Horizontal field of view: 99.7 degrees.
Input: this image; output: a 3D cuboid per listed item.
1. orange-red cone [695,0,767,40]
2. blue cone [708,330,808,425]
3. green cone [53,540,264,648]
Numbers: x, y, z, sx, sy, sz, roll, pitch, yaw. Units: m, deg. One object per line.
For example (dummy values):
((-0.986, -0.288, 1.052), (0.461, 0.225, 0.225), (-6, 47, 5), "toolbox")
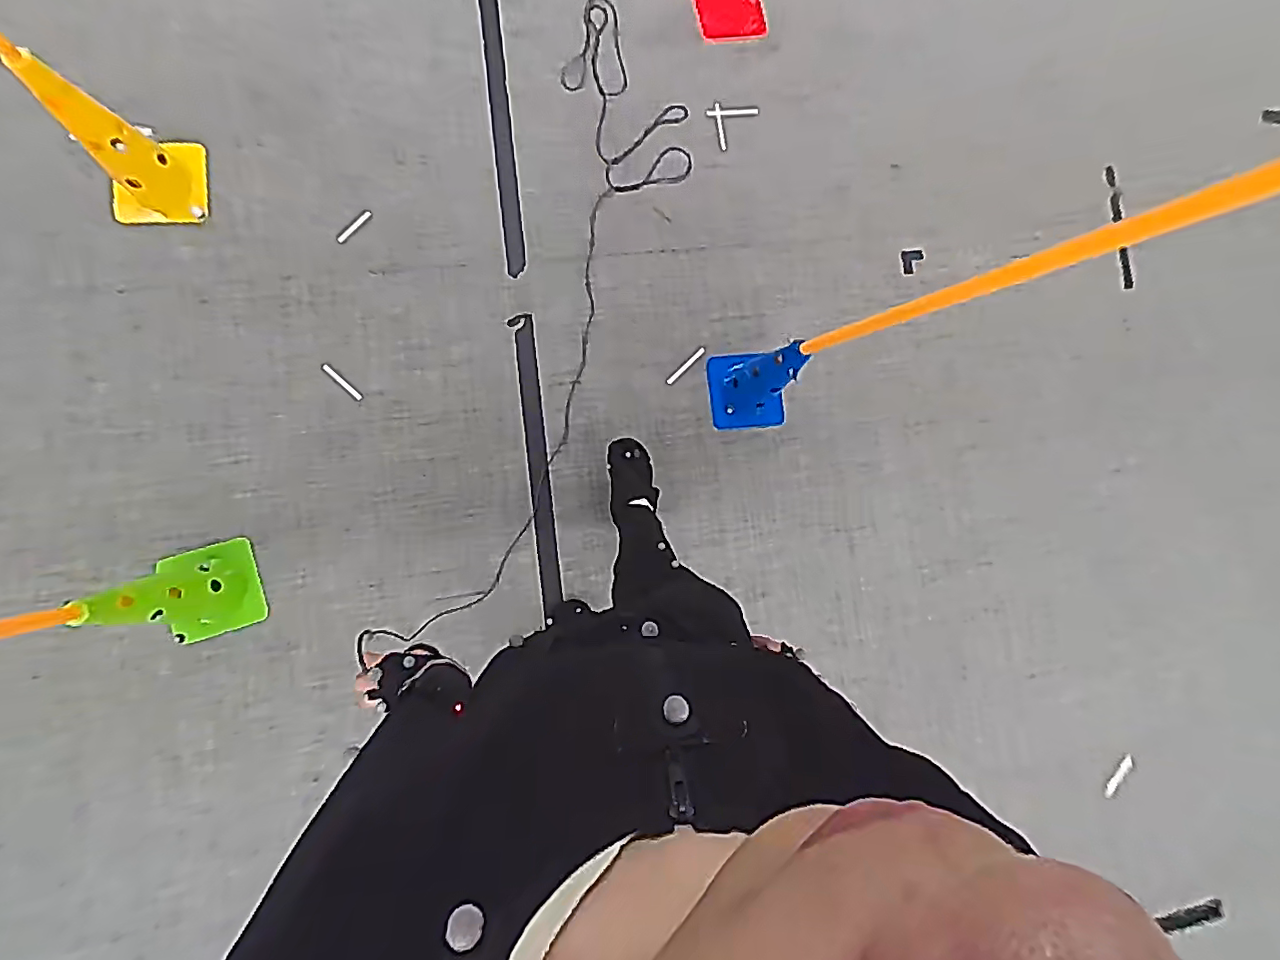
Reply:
((0.277, -1.368, 1.376), (0.199, 0.360, 0.198), (-12, 86, -8), "orange-red cone")
((0.305, -0.261, 1.288), (0.193, 0.380, 0.192), (-4, 85, -9), "blue cone")
((-0.945, 0.234, 1.048), (0.200, 0.368, 0.202), (-18, 85, -10), "green cone")
